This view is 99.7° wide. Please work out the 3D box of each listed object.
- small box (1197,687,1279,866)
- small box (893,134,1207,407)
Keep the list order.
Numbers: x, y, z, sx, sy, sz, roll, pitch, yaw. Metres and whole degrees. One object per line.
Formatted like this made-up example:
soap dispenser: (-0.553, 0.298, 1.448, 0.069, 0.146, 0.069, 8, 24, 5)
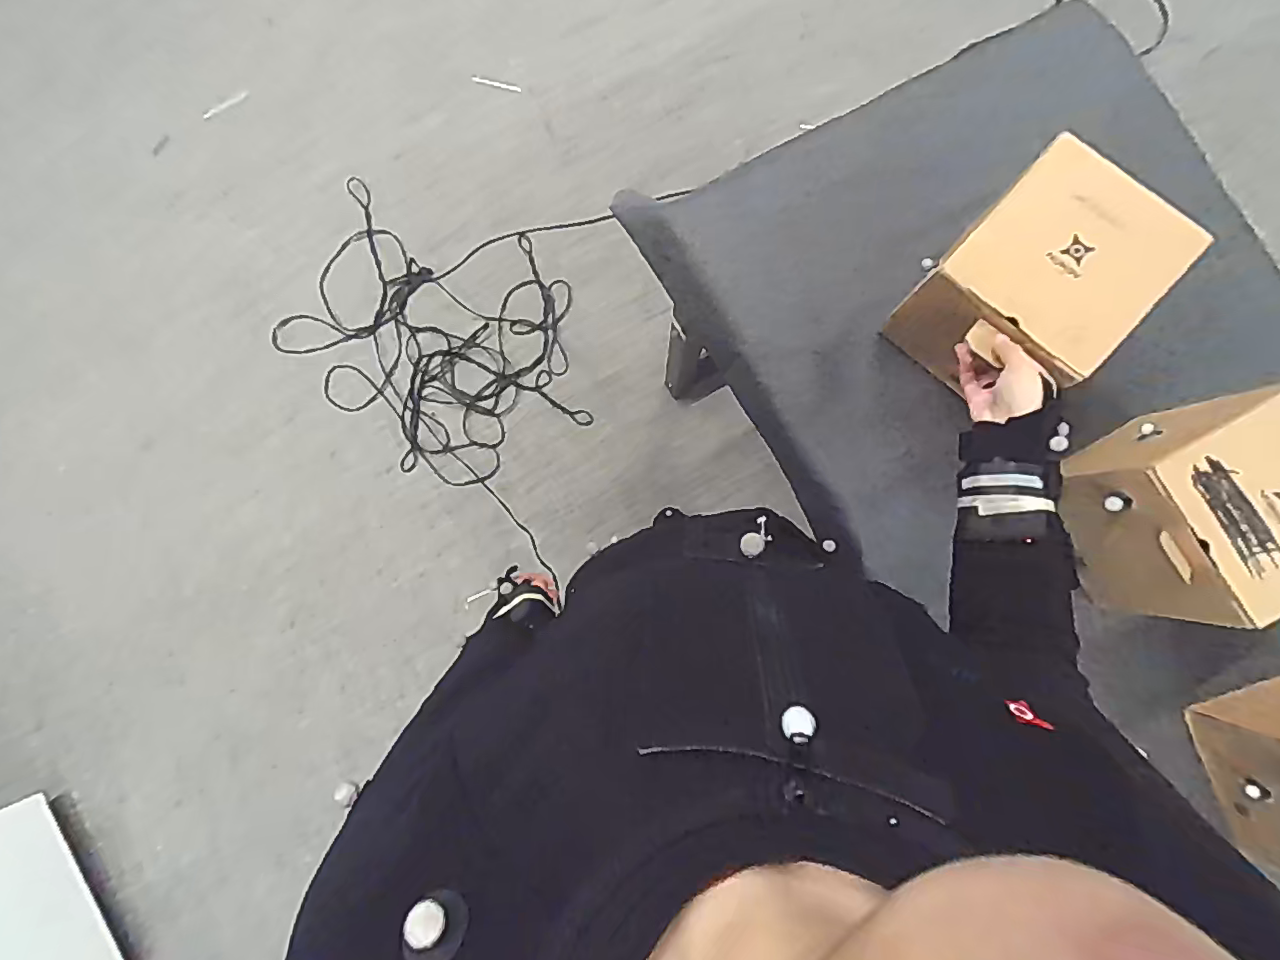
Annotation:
small box: (0.734, 0.305, 0.531, 0.179, 0.176, 0.168, -18, 84, -1)
small box: (0.400, -0.200, 0.572, 0.168, 0.176, 0.179, 39, 91, 6)
